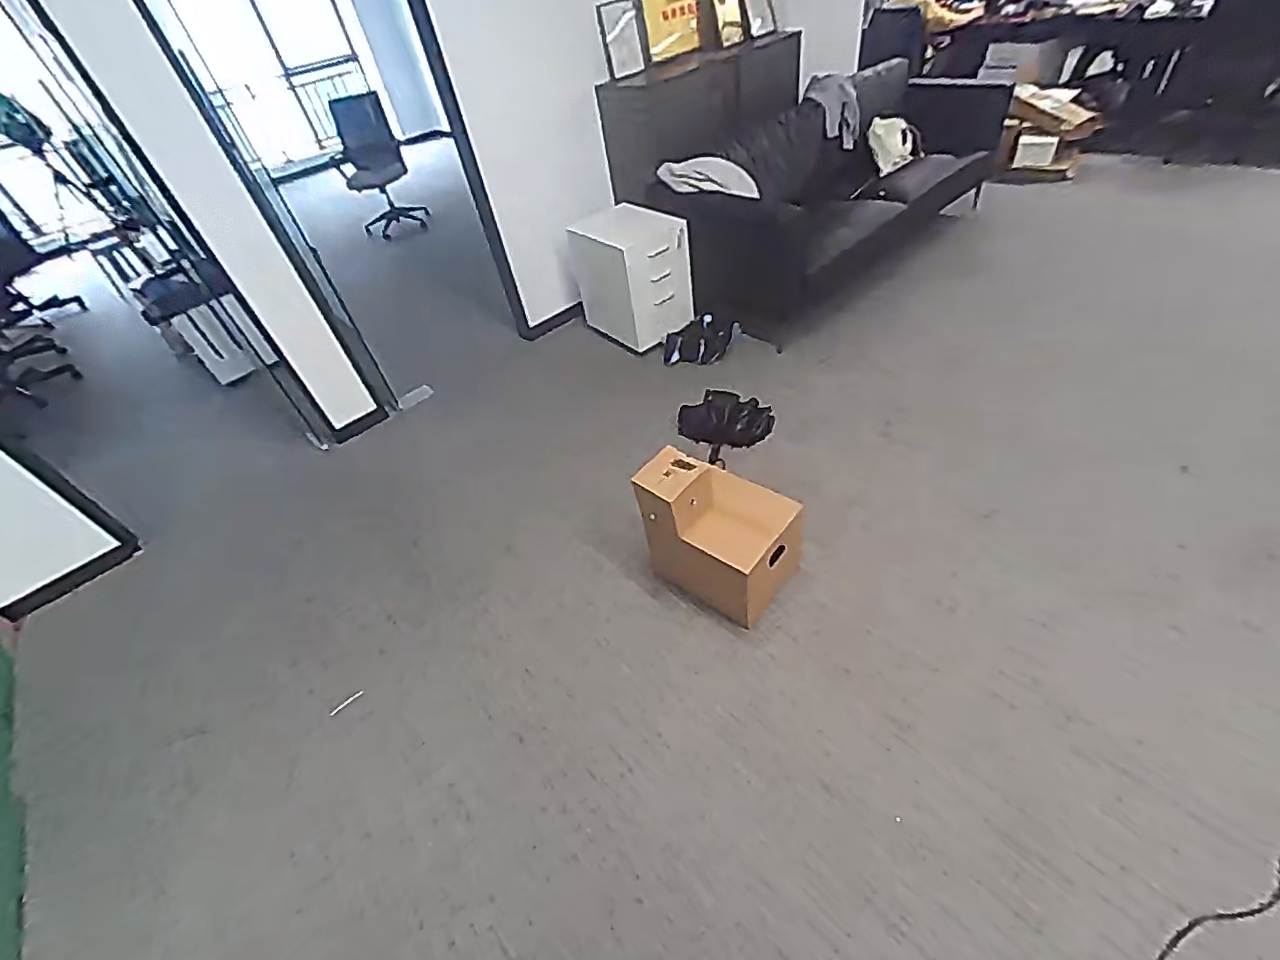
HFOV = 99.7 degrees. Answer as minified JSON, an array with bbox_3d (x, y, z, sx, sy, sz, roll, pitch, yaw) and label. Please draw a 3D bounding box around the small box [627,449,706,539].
[{"bbox_3d":[0.086,0.044,1.641,0.168,0.176,0.179,30,60,35],"label":"small box"}]
